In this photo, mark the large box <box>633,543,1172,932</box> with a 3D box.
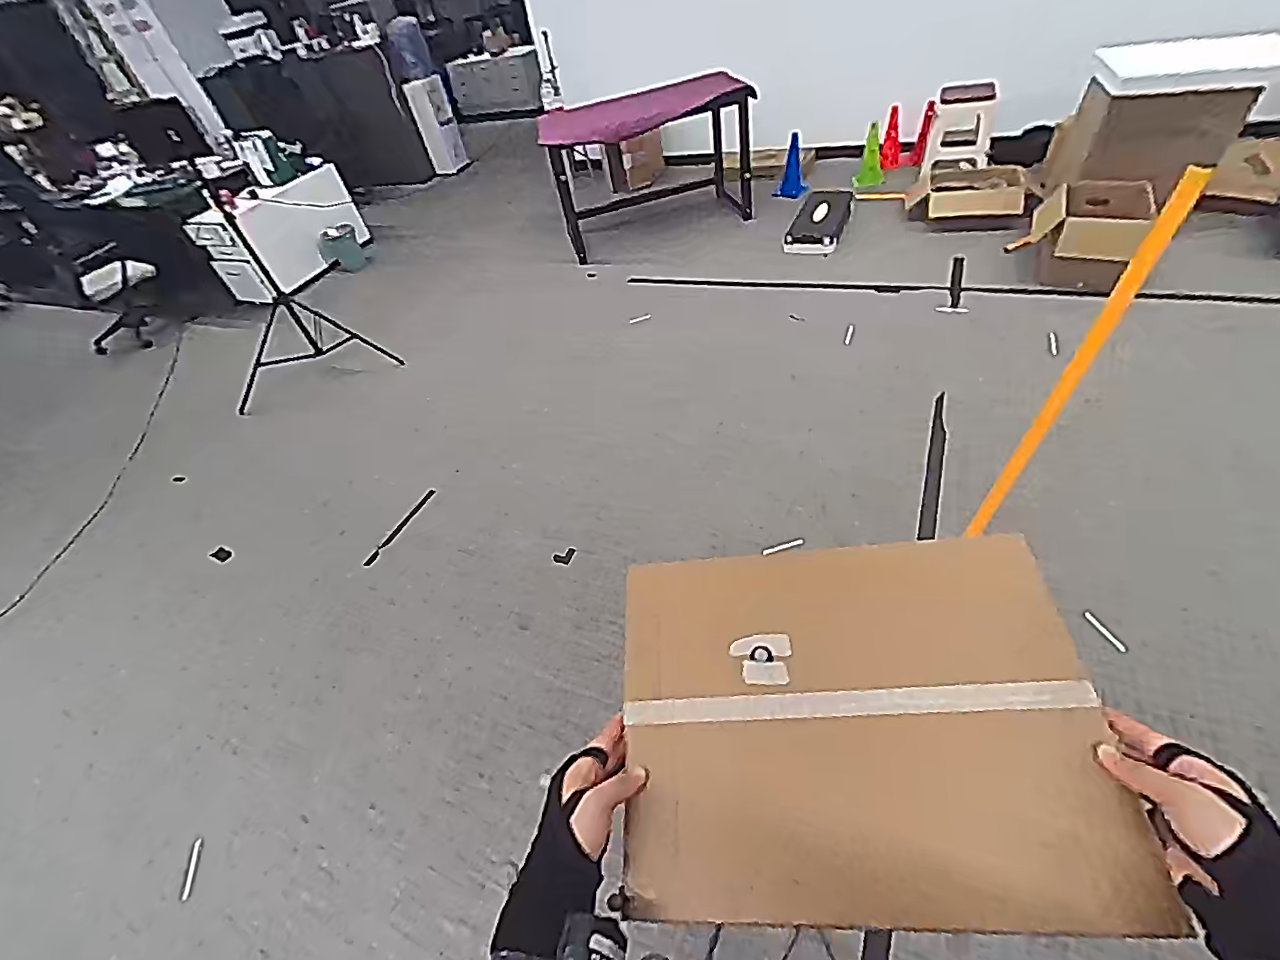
[{"bbox_3d":[0.221,0.295,0.621,0.408,0.320,0.320,-7,54,10],"label":"large box"}]
